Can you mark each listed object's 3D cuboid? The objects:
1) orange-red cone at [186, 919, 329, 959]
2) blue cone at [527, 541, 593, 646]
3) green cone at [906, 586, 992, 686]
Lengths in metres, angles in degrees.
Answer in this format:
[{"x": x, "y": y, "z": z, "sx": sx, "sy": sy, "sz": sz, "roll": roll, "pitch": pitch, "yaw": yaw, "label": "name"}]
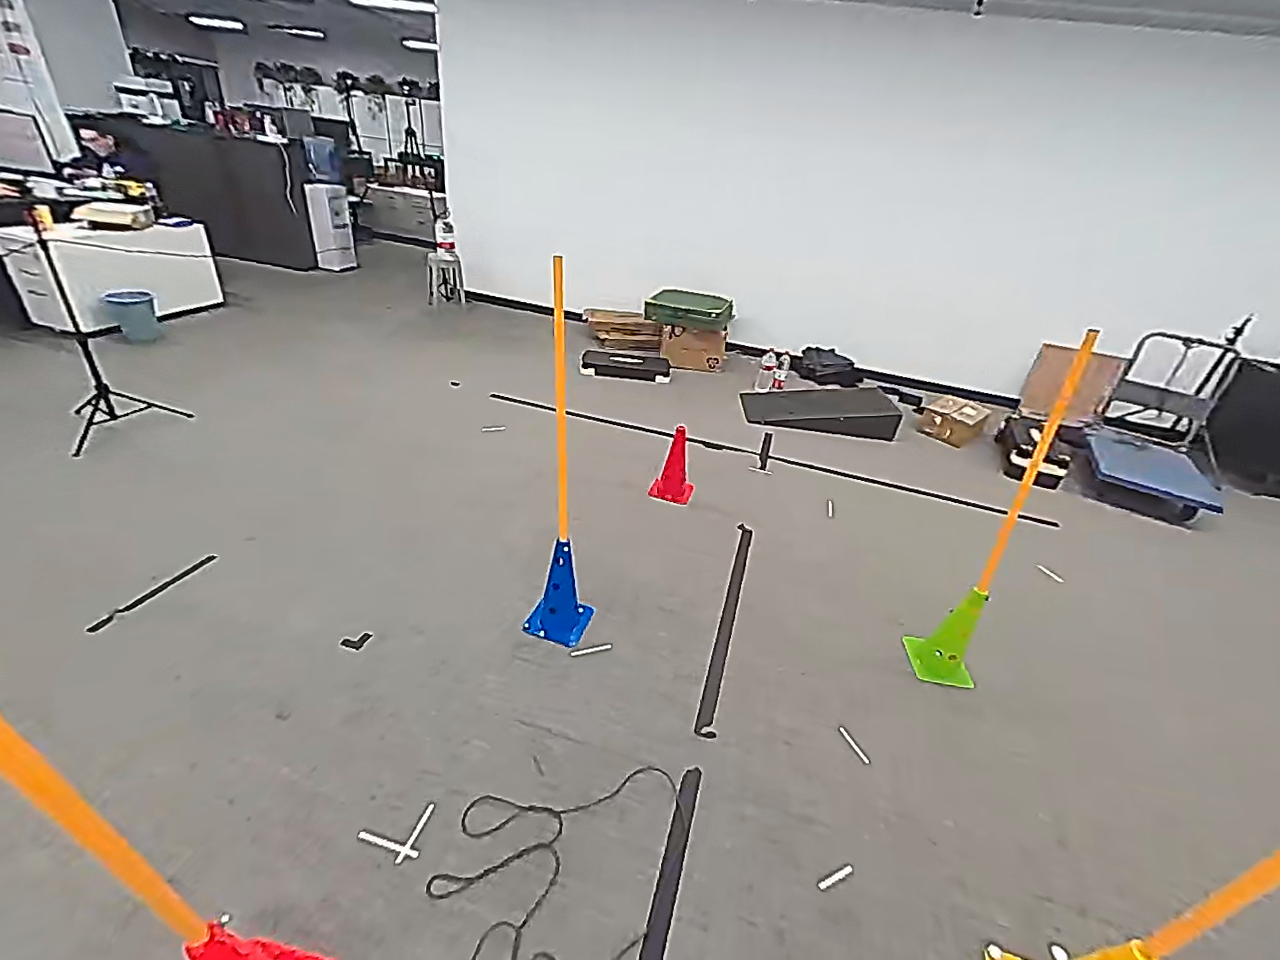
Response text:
[{"x": -0.683, "y": 0.831, "z": 0.906, "sx": 0.199, "sy": 0.360, "sz": 0.198, "roll": 13, "pitch": 32, "yaw": 6, "label": "orange-red cone"}, {"x": -0.260, "y": 0.355, "z": 1.817, "sx": 0.193, "sy": 0.380, "sz": 0.192, "roll": 16, "pitch": 32, "yaw": 13, "label": "blue cone"}, {"x": 1.097, "y": 0.503, "z": 1.851, "sx": 0.200, "sy": 0.368, "sz": 0.202, "roll": 9, "pitch": 33, "yaw": 2, "label": "green cone"}]
